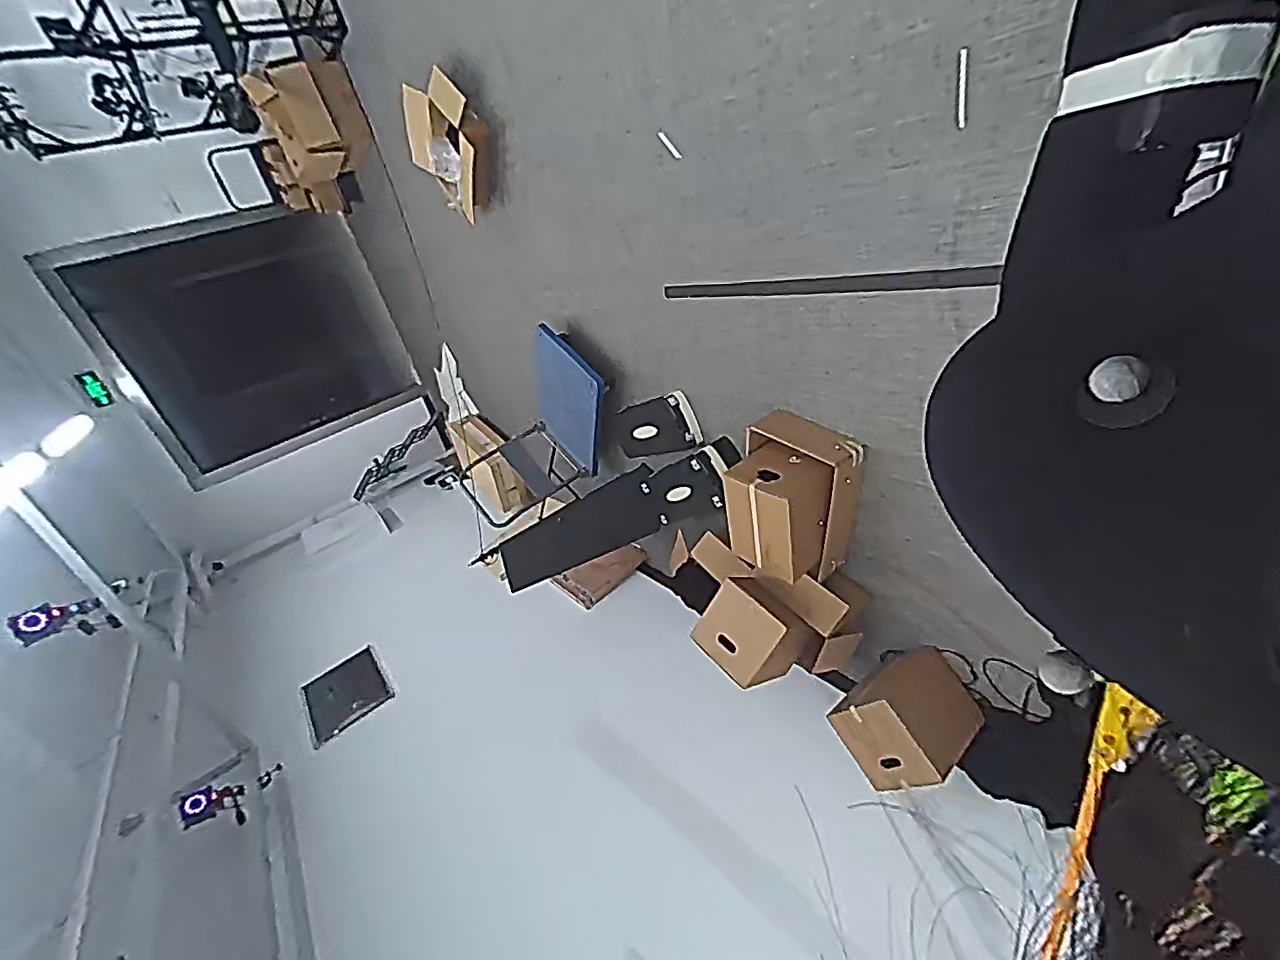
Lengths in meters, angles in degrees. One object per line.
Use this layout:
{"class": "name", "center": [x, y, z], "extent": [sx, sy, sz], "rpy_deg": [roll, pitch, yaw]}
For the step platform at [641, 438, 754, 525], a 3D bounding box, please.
{"class": "step platform", "center": [0.259, 0.027, 2.723], "extent": [0.286, 0.204, 0.684], "rpy_deg": [59, 152, -1]}
